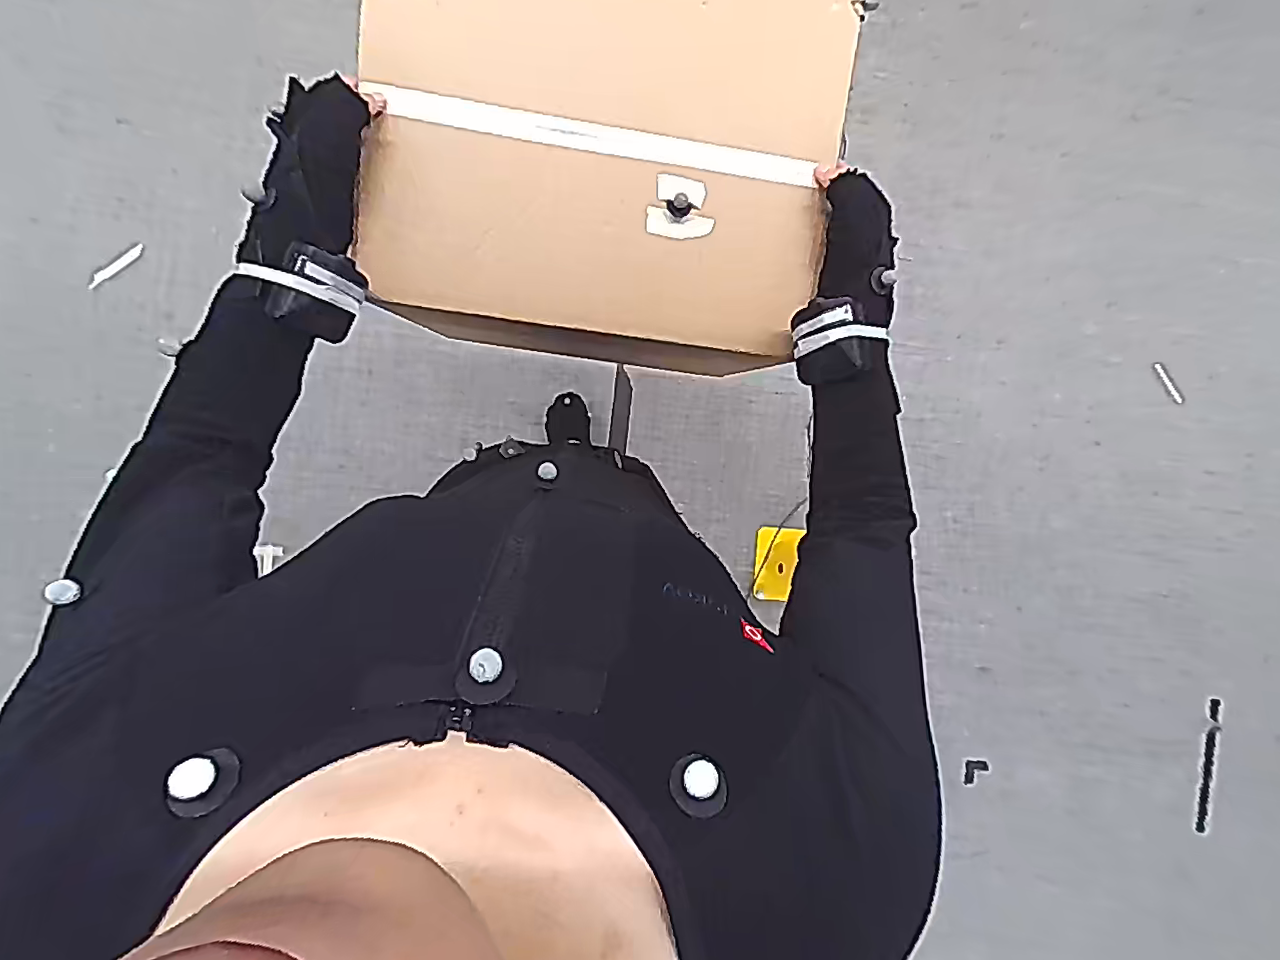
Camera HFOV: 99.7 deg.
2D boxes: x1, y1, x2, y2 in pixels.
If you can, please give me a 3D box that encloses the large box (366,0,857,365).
[{"bbox_3d":[-0.040,-0.318,0.609,0.408,0.320,0.320,6,98,-7],"label":"large box"}]
